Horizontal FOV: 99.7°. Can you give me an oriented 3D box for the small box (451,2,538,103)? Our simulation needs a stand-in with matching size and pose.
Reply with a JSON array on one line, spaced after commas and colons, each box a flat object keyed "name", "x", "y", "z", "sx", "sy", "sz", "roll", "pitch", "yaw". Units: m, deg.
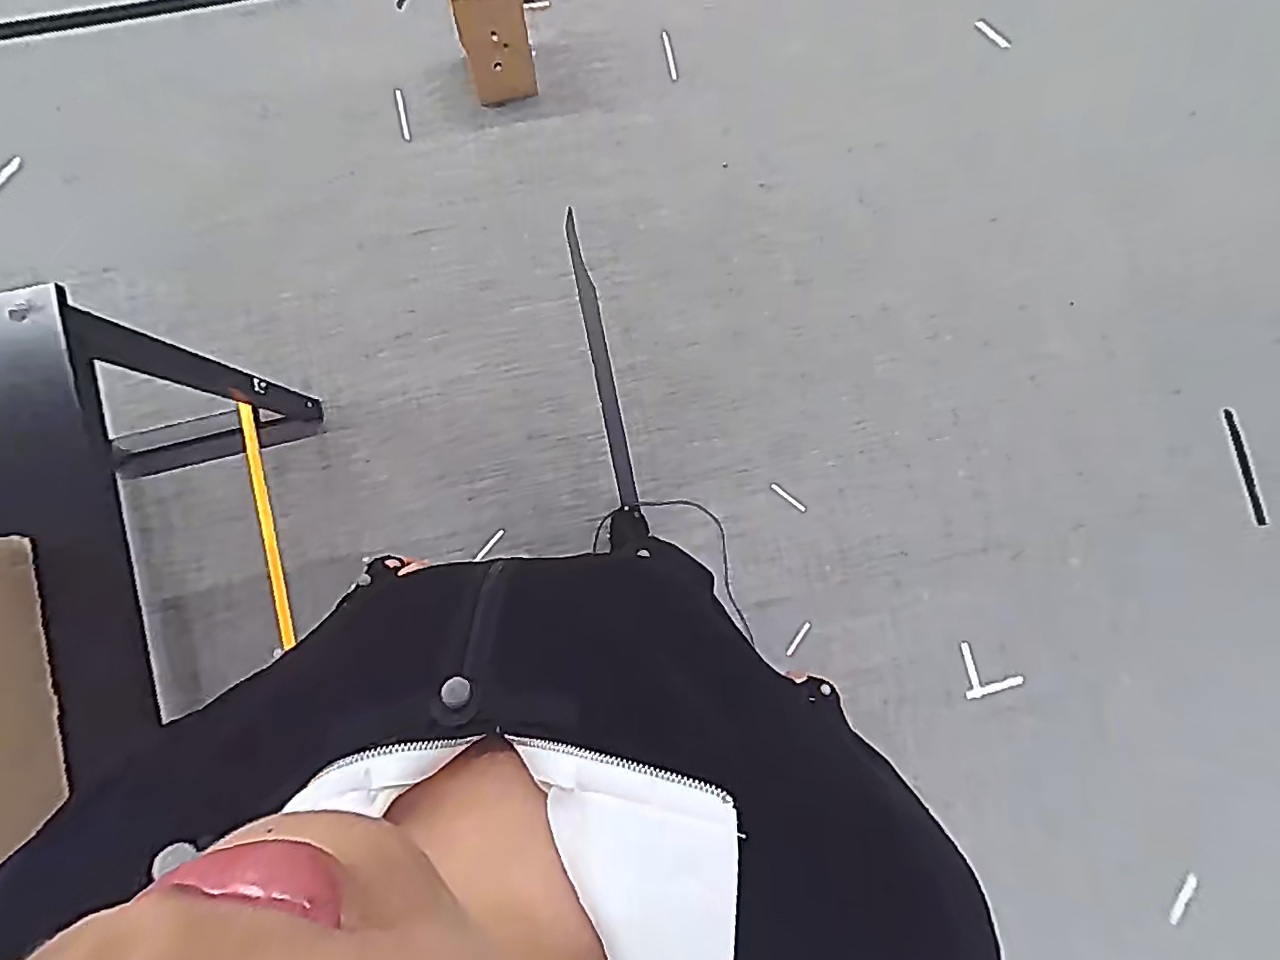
[{"name": "small box", "x": -0.393, "y": -1.183, "z": 1.487, "sx": 0.179, "sy": 0.176, "sz": 0.168, "roll": -16, "pitch": 88, "yaw": -5}]

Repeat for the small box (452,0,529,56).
[{"name": "small box", "x": -0.378, "y": -1.195, "z": 1.323, "sx": 0.168, "sy": 0.176, "sz": 0.179, "roll": -12, "pitch": 88, "yaw": -4}]
